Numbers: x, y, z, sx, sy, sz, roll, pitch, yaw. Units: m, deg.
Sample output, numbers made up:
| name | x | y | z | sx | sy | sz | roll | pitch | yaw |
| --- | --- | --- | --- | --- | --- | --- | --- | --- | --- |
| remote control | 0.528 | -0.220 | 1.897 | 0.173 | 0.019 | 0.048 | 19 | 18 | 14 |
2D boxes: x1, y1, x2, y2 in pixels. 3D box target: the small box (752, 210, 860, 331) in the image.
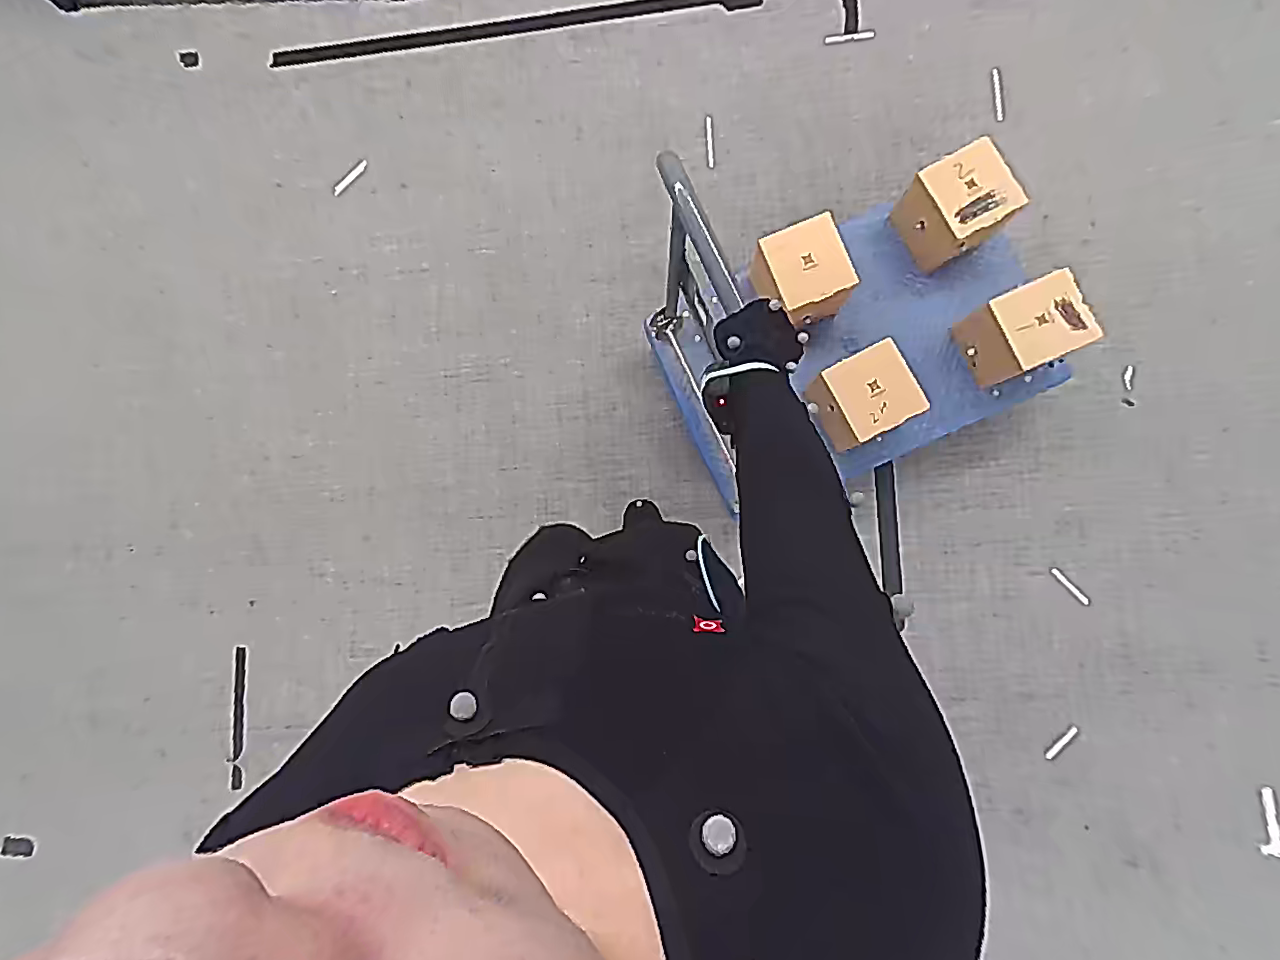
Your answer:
| name | x | y | z | sx | sy | sz | roll | pitch | yaw |
| --- | --- | --- | --- | --- | --- | --- | --- | --- | --- |
| small box | 0.370 | -0.471 | 1.241 | 0.168 | 0.176 | 0.179 | -21 | 87 | 2 |

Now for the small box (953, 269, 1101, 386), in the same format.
| name | x | y | z | sx | sy | sz | roll | pitch | yaw |
| --- | --- | --- | --- | --- | --- | --- | --- | --- | --- |
| small box | 0.843 | -0.328 | 1.196 | 0.179 | 0.176 | 0.168 | -23 | 85 | 4 |

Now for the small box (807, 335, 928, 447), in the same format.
| name | x | y | z | sx | sy | sz | roll | pitch | yaw |
| --- | --- | --- | --- | --- | --- | --- | --- | --- | --- |
| small box | 0.498 | -0.190 | 1.215 | 0.168 | 0.176 | 0.179 | -26 | 85 | 3 |
